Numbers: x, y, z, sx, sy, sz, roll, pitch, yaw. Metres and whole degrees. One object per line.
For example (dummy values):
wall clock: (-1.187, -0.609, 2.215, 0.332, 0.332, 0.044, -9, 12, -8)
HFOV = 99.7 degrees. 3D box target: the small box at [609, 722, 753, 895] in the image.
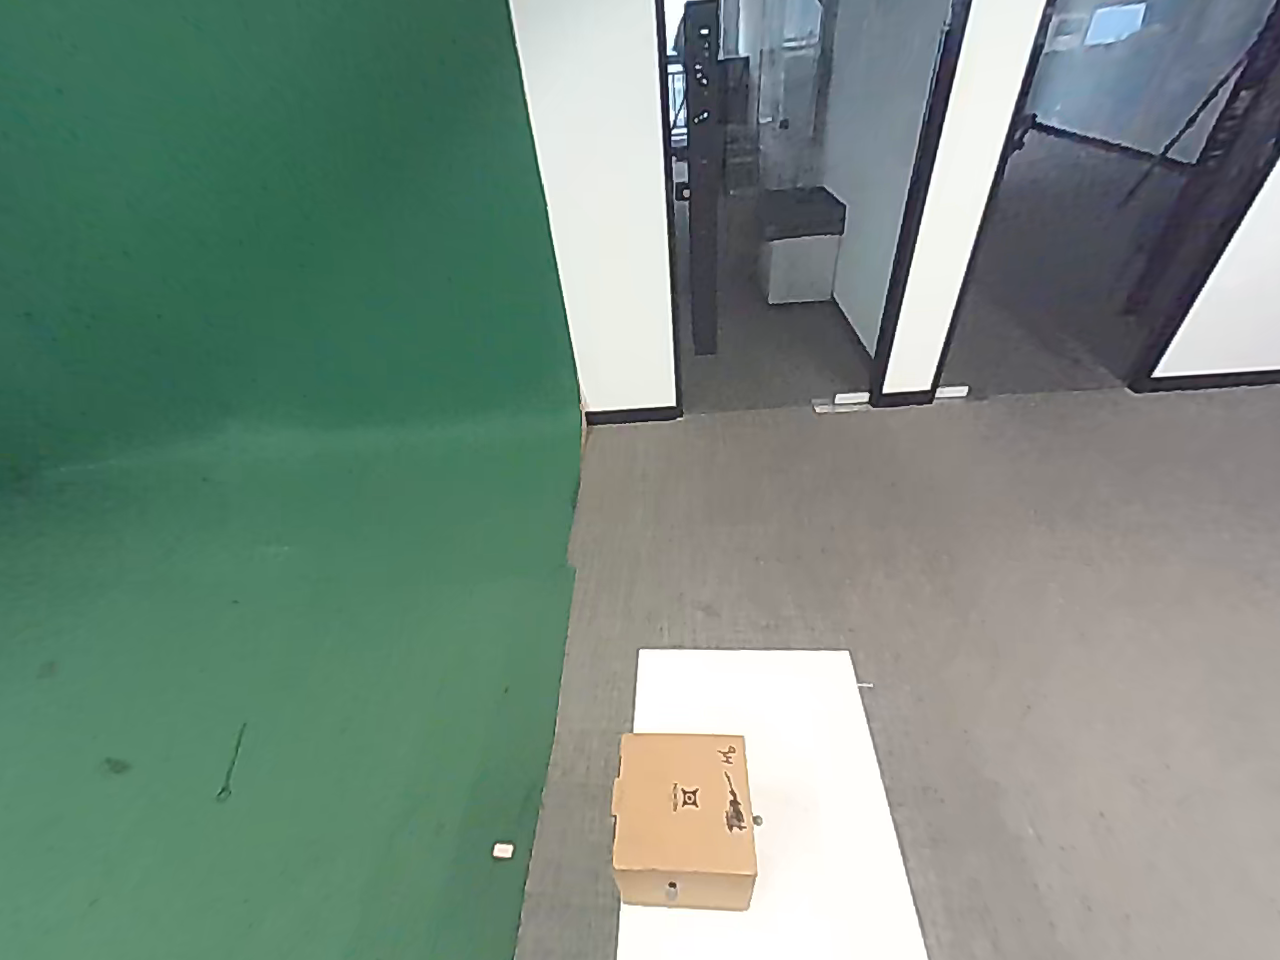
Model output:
small box: (0.060, 0.458, 0.754, 0.179, 0.176, 0.168, -2, 41, 5)
